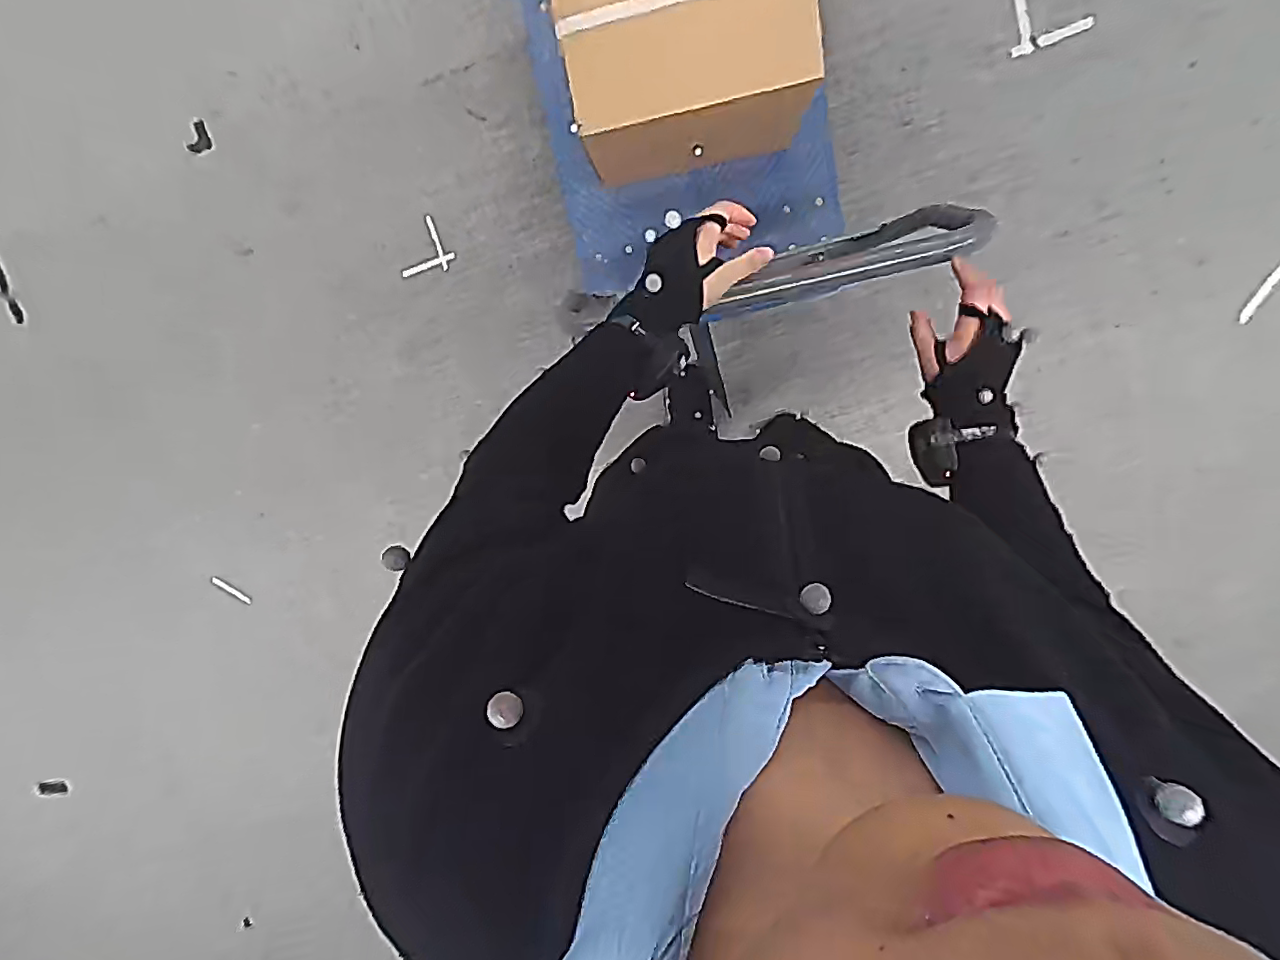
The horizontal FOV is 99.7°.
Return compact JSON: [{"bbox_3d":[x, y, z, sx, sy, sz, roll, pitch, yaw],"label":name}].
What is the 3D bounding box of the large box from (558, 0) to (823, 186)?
[{"bbox_3d":[0.087,-0.793,1.002,0.408,0.320,0.320,-9,101,7],"label":"large box"}]
